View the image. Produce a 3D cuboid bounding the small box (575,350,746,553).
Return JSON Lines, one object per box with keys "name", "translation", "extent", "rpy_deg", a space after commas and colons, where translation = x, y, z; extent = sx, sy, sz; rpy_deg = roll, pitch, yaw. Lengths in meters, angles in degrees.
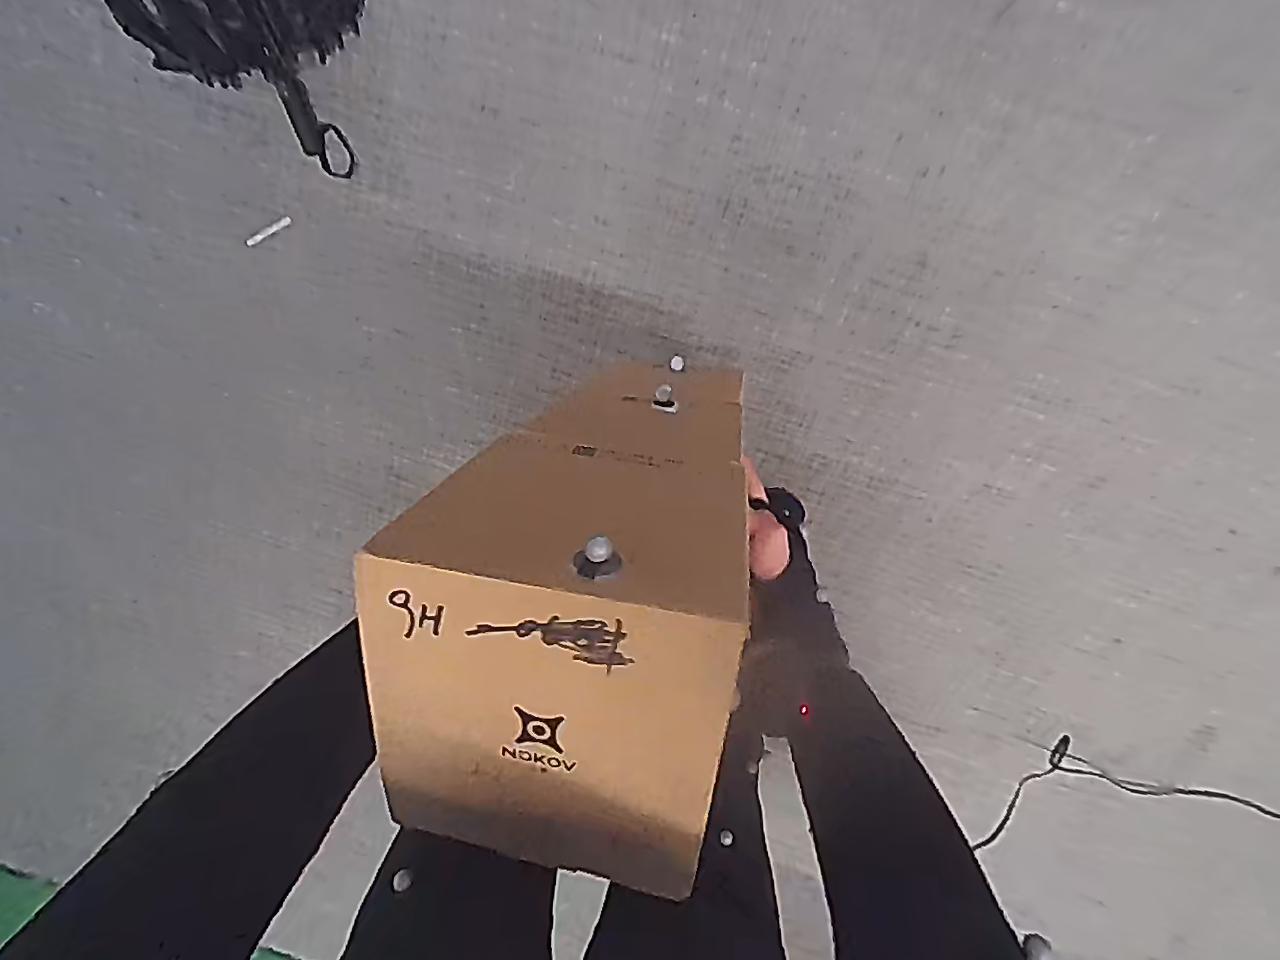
{"name": "small box", "translation": [0.030, -0.042, 0.618], "extent": [0.168, 0.176, 0.179], "rpy_deg": [6, 114, 10]}
